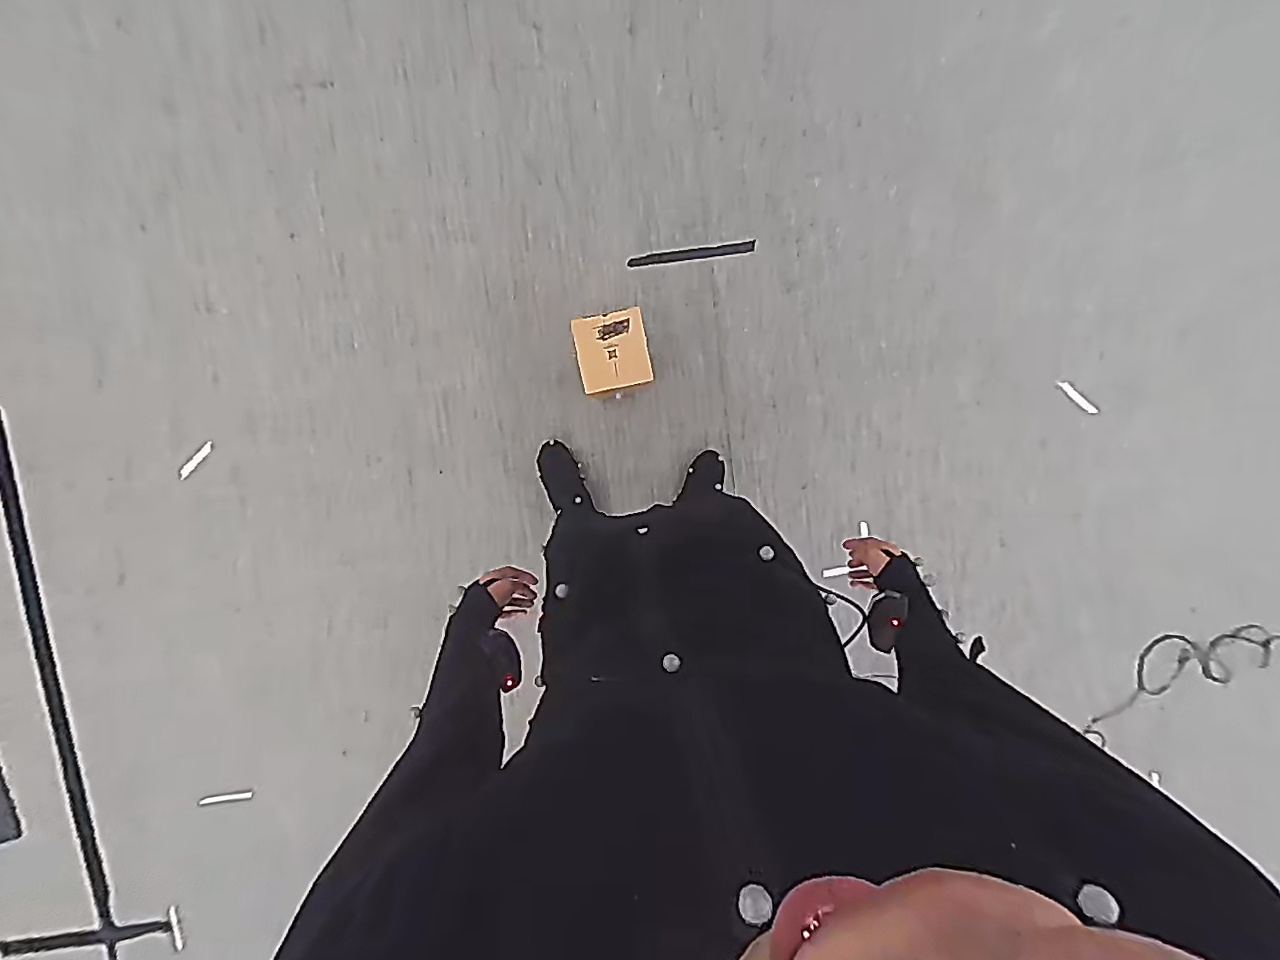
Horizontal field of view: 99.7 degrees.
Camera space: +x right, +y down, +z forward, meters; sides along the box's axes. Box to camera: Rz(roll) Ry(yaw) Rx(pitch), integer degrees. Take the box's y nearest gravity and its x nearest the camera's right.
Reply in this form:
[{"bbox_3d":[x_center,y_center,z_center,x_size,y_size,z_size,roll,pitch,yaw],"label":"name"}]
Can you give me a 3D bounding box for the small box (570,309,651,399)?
[{"bbox_3d":[-0.072,-0.304,1.335,0.168,0.176,0.179,-11,96,-1],"label":"small box"}]
